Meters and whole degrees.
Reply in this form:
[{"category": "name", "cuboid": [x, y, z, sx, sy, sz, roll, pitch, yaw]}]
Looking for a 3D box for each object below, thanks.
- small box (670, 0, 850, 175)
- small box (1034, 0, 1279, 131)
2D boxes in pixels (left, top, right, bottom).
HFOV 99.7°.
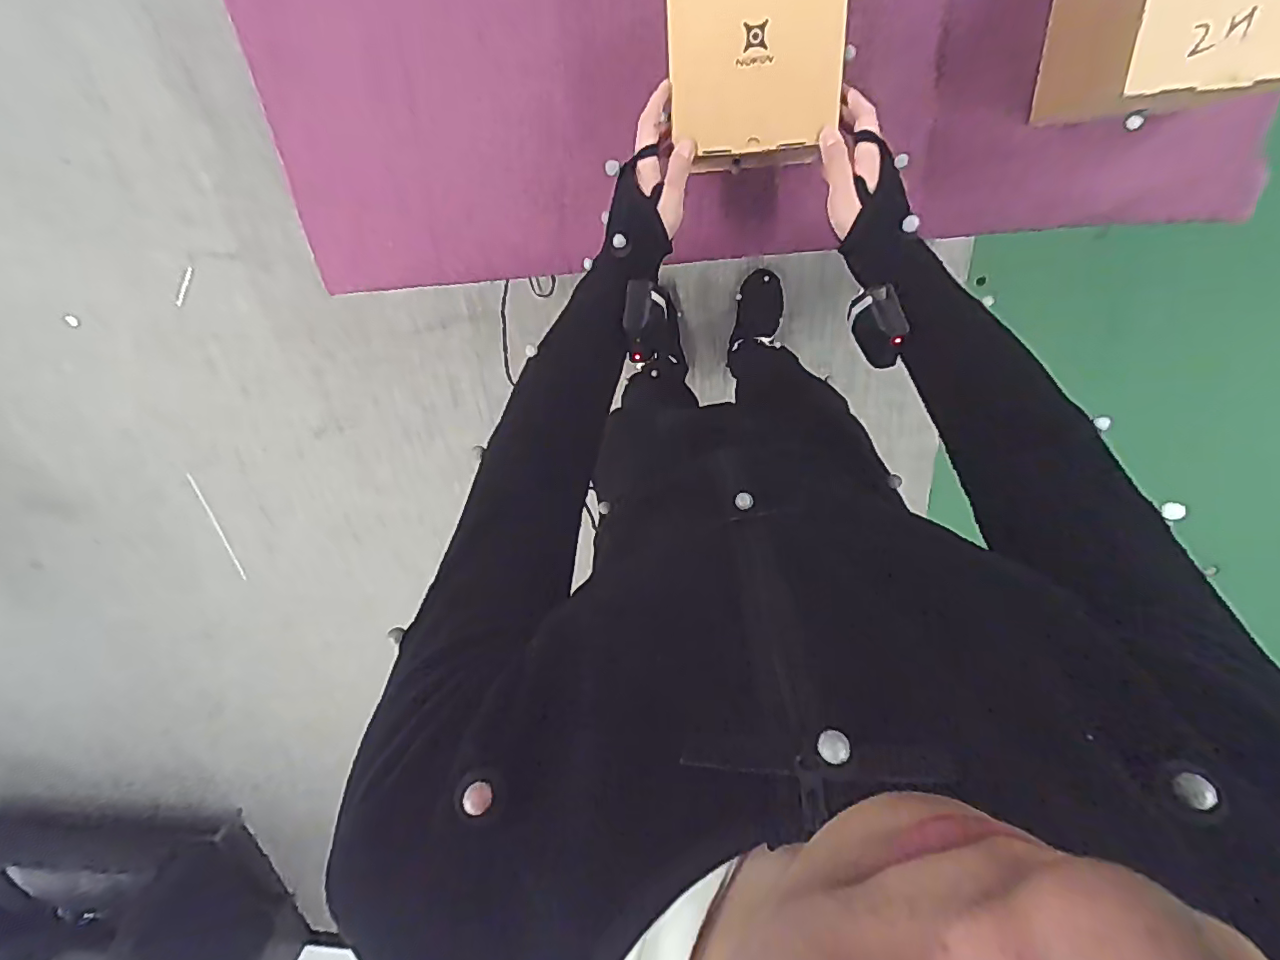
[{"category": "small box", "cuboid": [0.119, -0.440, 0.582, 0.168, 0.176, 0.179, -1, 116, 8]}, {"category": "small box", "cuboid": [0.518, -0.454, 0.514, 0.168, 0.176, 0.179, 0, 115, 9]}]
